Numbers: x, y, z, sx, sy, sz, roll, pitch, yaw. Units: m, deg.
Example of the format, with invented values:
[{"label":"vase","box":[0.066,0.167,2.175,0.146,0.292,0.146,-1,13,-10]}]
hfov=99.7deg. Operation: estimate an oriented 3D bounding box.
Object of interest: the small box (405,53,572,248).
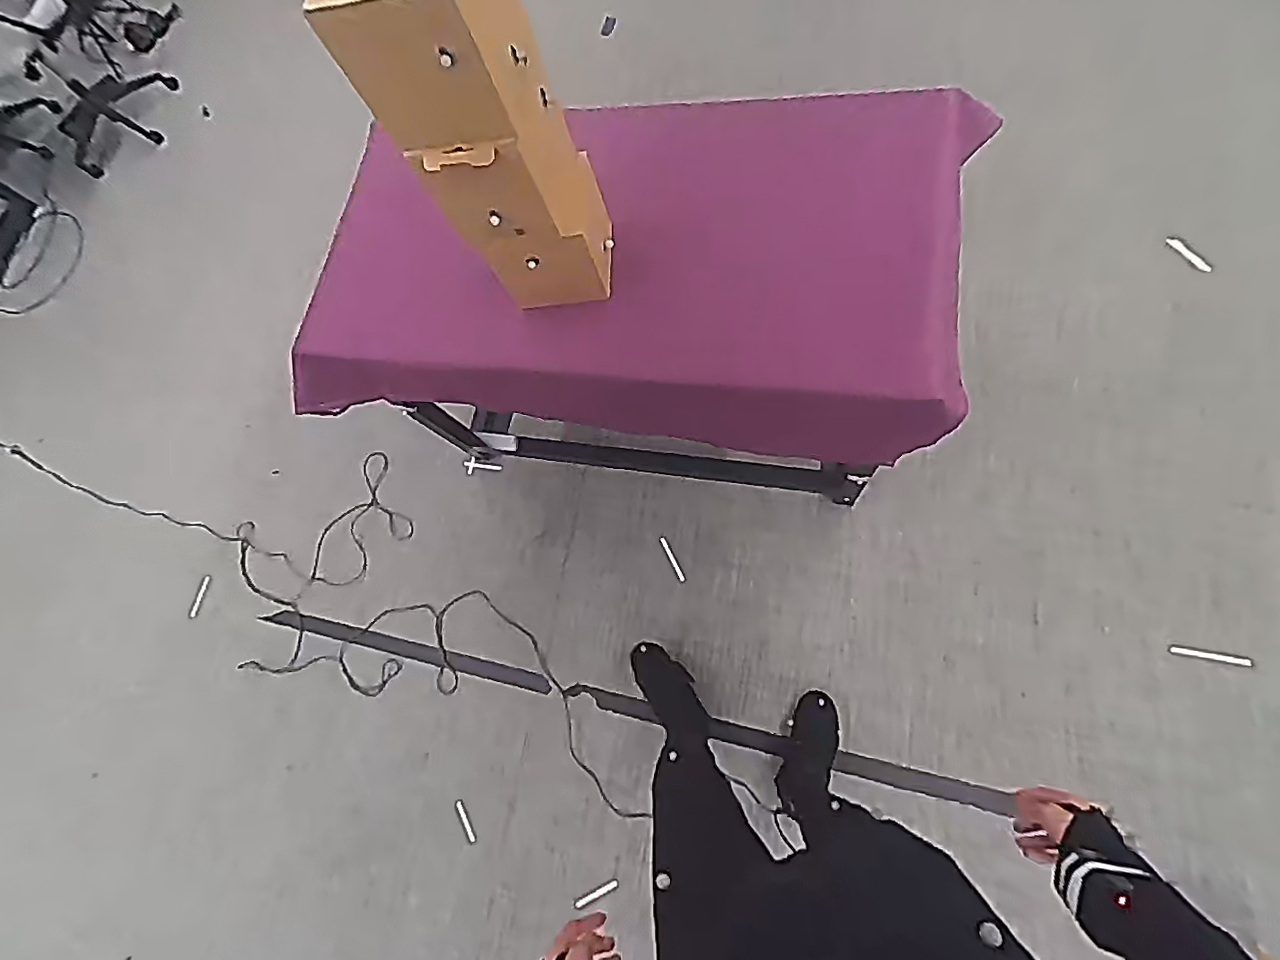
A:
[{"label":"small box","box":[-0.209,-0.474,0.797,0.168,0.176,0.179,2,74,14]}]

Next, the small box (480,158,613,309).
[{"label":"small box","box":[-0.155,-0.417,0.944,0.179,0.176,0.168,-3,73,11]}]
